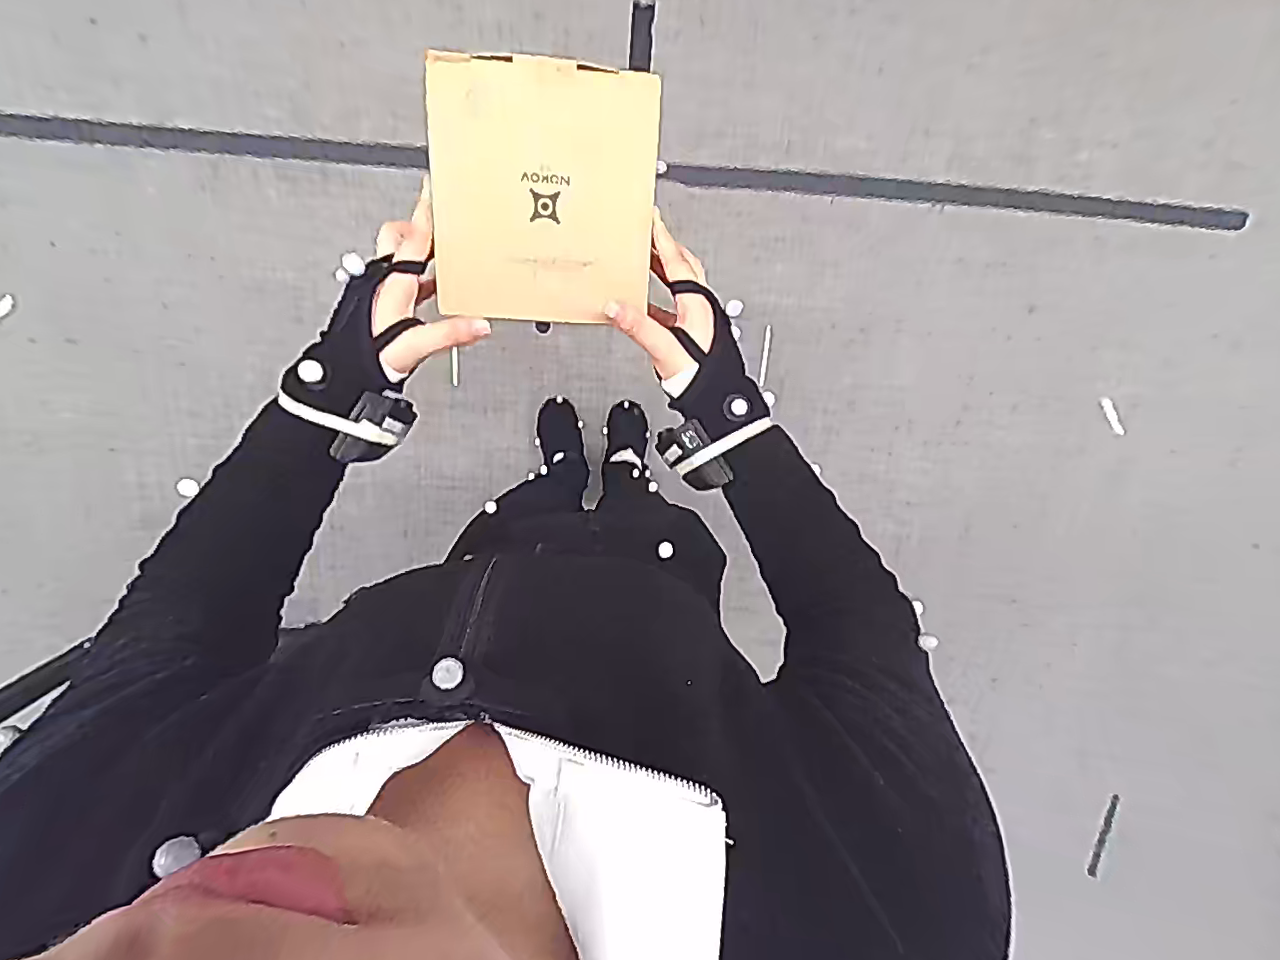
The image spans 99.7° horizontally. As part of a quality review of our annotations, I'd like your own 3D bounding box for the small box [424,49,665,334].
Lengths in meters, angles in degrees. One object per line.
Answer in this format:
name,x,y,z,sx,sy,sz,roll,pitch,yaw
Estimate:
small box,-0.075,-0.227,0.467,0.168,0.176,0.179,2,110,-5
